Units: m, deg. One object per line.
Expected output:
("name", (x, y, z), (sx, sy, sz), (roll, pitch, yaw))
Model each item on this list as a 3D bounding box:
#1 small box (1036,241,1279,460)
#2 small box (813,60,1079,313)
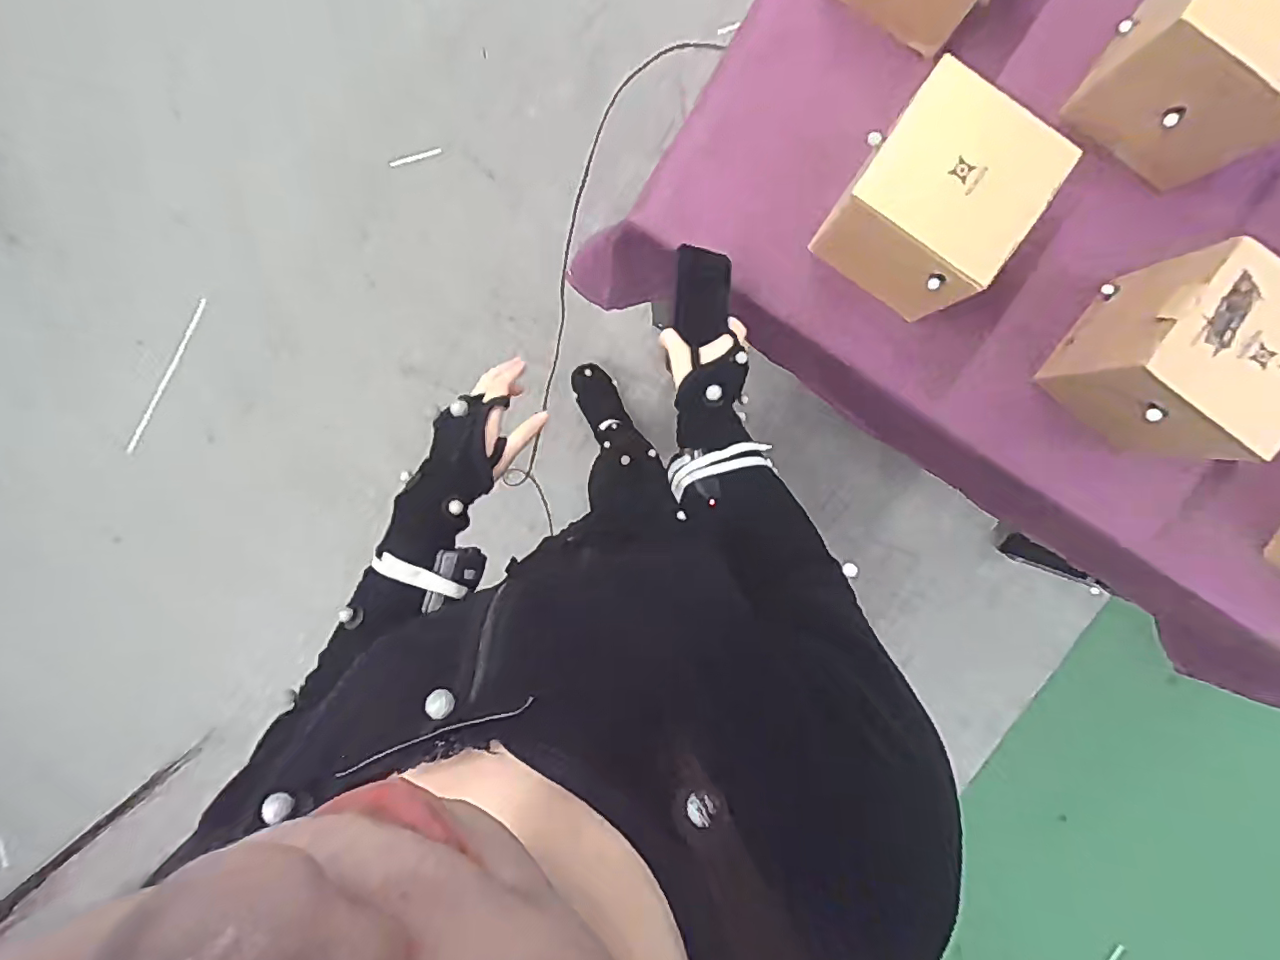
("small box", (0.639, -0.141, 0.647), (0.179, 0.176, 0.168), (36, 95, -3))
("small box", (0.336, -0.321, 0.637), (0.179, 0.176, 0.168), (34, 95, -3))
